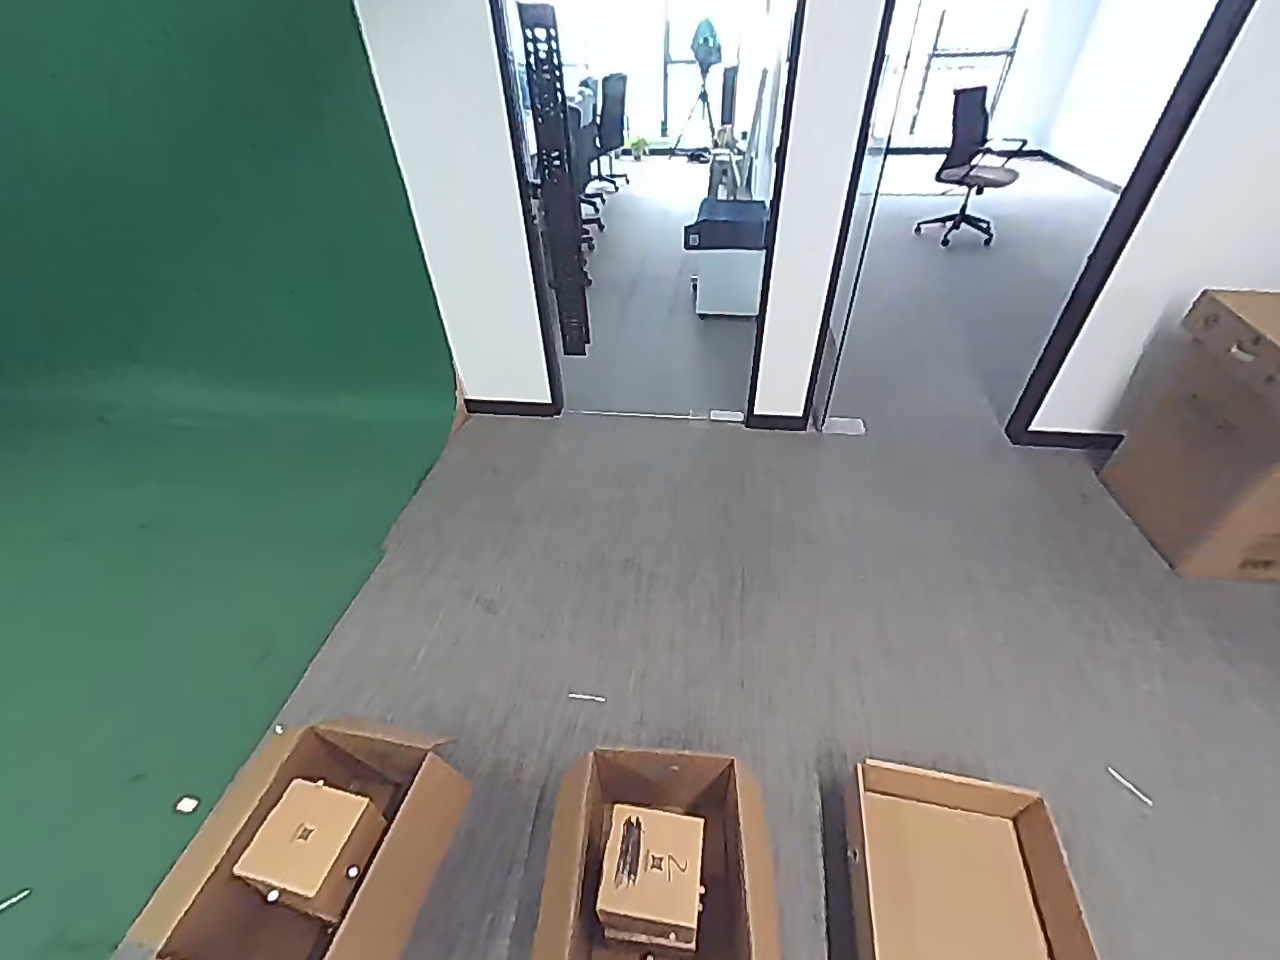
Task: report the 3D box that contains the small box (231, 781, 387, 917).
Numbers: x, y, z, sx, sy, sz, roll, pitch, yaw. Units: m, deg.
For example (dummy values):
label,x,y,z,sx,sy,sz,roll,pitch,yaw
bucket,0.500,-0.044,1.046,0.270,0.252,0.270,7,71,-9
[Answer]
label,x,y,z,sx,sy,sz,roll,pitch,yaw
small box,-0.637,0.732,1.070,0.179,0.176,0.168,8,40,10
